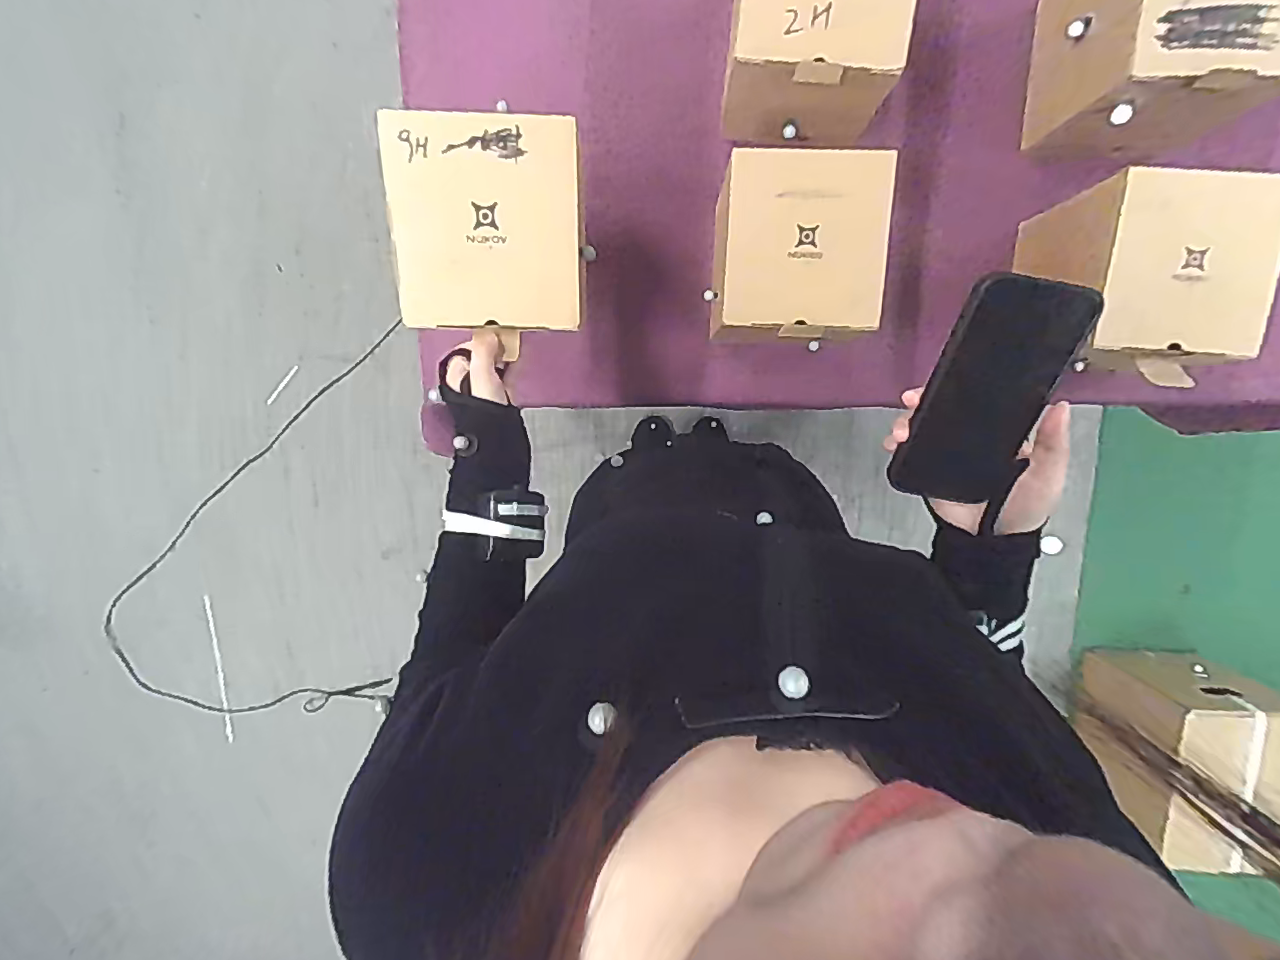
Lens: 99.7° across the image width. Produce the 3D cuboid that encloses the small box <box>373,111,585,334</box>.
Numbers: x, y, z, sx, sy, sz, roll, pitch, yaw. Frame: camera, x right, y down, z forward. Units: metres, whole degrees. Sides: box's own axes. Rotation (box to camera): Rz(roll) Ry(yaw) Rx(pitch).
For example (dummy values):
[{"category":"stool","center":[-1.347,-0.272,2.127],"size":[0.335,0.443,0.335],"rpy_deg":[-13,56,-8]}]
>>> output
[{"category":"small box","center":[-0.143,-0.248,0.550],"size":[0.168,0.176,0.179],"rpy_deg":[0,110,-3]}]

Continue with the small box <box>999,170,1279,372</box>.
[{"category":"small box","center":[0.548,-0.222,0.616],"size":[0.168,0.176,0.179],"rpy_deg":[5,99,3]}]

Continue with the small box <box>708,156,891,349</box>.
[{"category":"small box","center":[0.171,-0.250,0.633],"size":[0.168,0.176,0.179],"rpy_deg":[2,98,2]}]

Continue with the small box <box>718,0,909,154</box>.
[{"category":"small box","center":[0.181,-0.495,0.594],"size":[0.168,0.176,0.179],"rpy_deg":[7,99,2]}]
